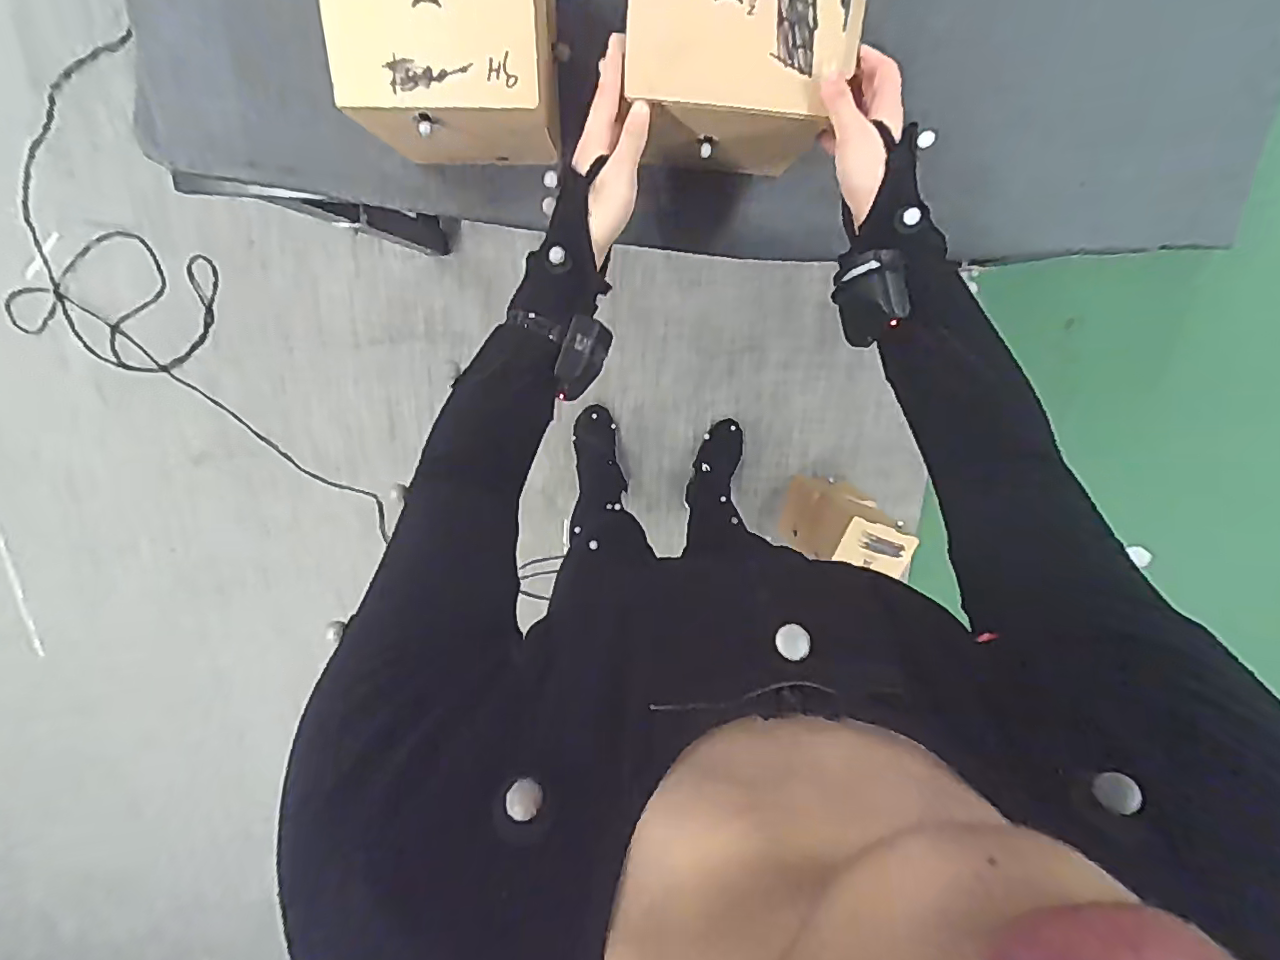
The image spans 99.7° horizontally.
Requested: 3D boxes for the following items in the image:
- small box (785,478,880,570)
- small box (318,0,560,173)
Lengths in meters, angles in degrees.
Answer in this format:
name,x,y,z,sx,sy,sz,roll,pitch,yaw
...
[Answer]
name,x,y,z,sx,sy,sz,roll,pitch,yaw
small box,0.491,0.110,1.410,0.168,0.176,0.179,10,106,-4
small box,-0.167,-0.402,0.492,0.168,0.176,0.179,1,106,0
